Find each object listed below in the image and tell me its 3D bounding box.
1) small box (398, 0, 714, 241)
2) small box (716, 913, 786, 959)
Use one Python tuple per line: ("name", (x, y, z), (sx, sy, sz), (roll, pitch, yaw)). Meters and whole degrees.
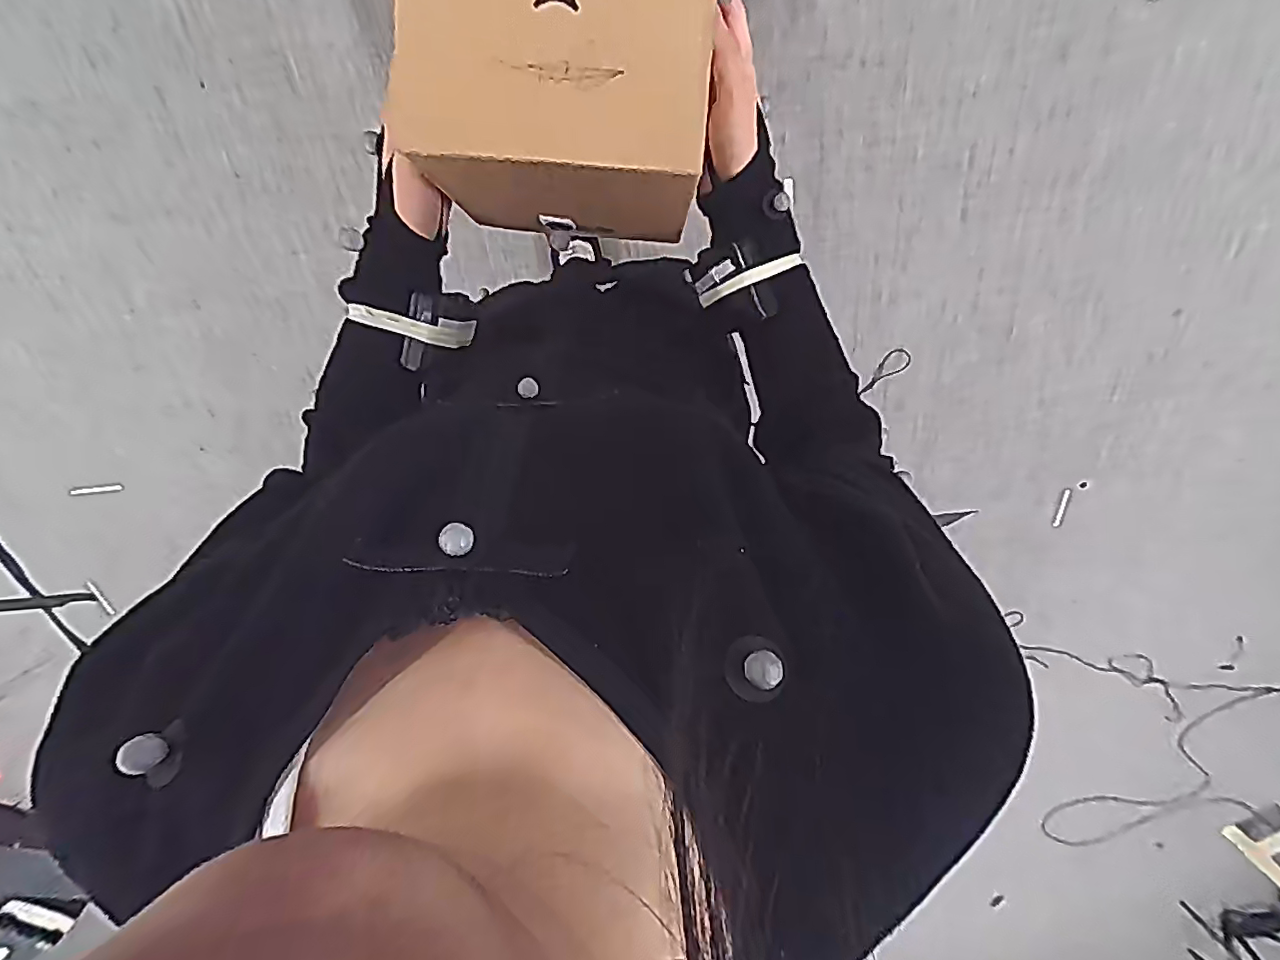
("small box", (-0.043, -0.275, 0.357), (0.168, 0.176, 0.179), (3, 102, -1))
("small box", (0.298, 1.278, 1.419), (0.168, 0.176, 0.179), (-9, 120, 2))
